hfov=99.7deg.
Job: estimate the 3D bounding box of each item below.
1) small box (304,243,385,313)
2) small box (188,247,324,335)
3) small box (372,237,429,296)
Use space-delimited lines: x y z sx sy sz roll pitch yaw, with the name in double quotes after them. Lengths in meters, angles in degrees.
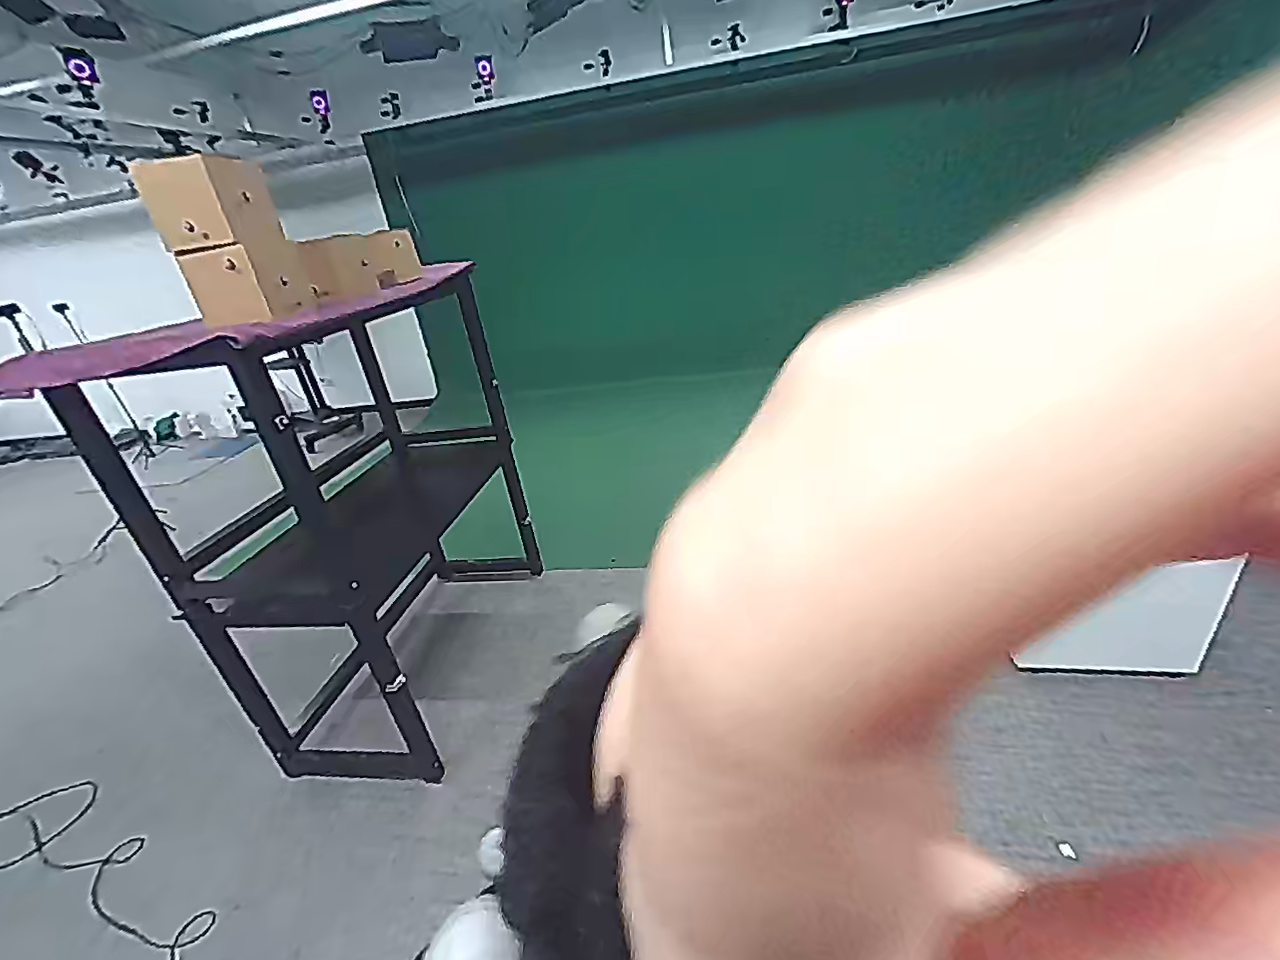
-0.888 -0.598 1.603 0.168 0.176 0.179 -5 26 9 "small box"
-0.904 -0.453 1.293 0.179 0.176 0.168 -4 24 9 "small box"
-0.870 -0.741 1.892 0.168 0.176 0.179 -5 25 13 "small box"
